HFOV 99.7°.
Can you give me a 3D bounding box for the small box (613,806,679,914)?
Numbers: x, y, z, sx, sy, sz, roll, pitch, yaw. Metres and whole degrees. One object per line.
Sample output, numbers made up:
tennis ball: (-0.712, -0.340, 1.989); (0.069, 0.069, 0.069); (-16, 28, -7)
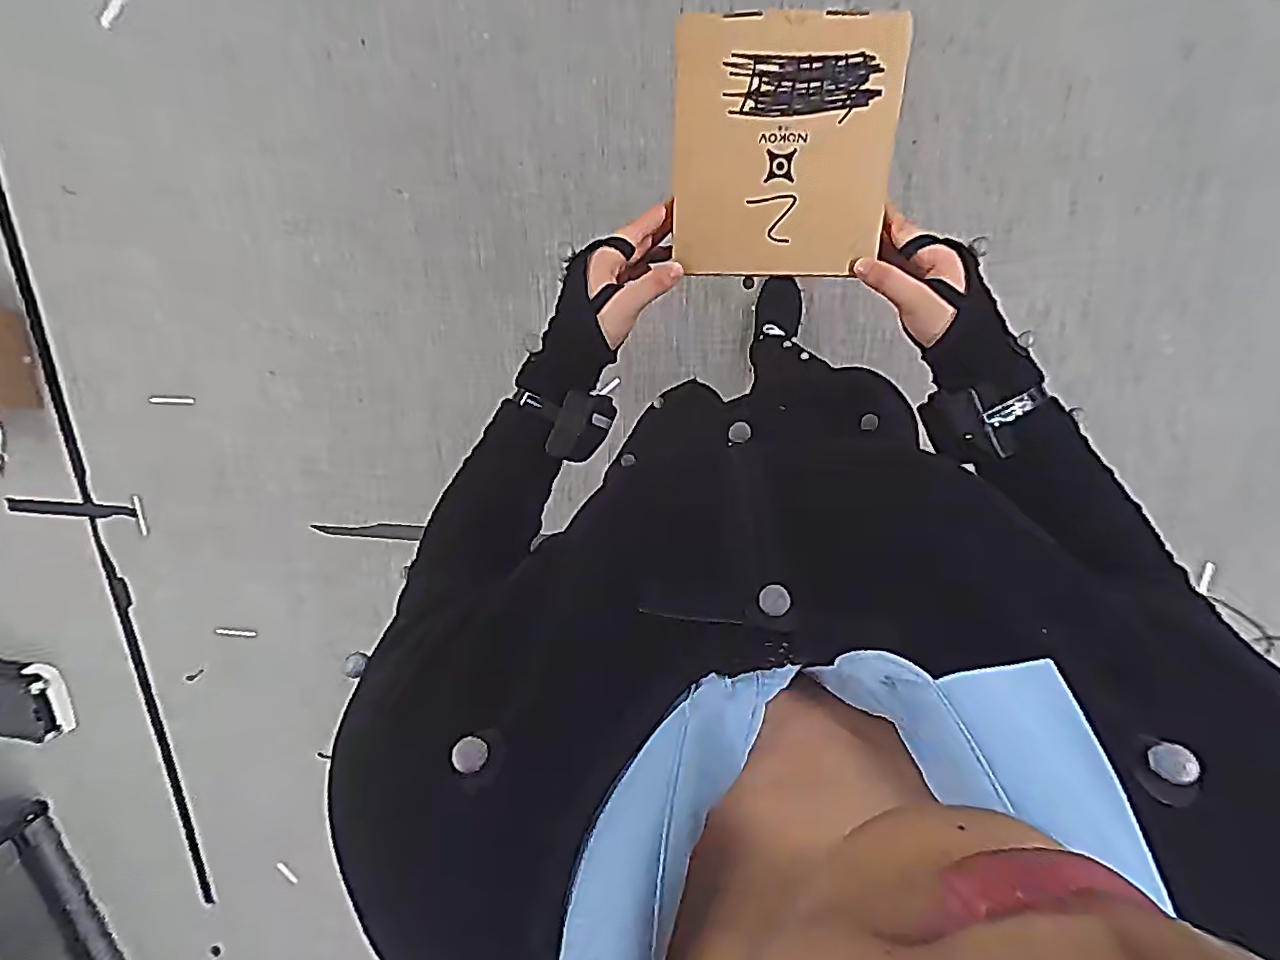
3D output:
small box: (0.022, 1.066, 1.524); (0.168, 0.176, 0.179); (0, 105, 9)
